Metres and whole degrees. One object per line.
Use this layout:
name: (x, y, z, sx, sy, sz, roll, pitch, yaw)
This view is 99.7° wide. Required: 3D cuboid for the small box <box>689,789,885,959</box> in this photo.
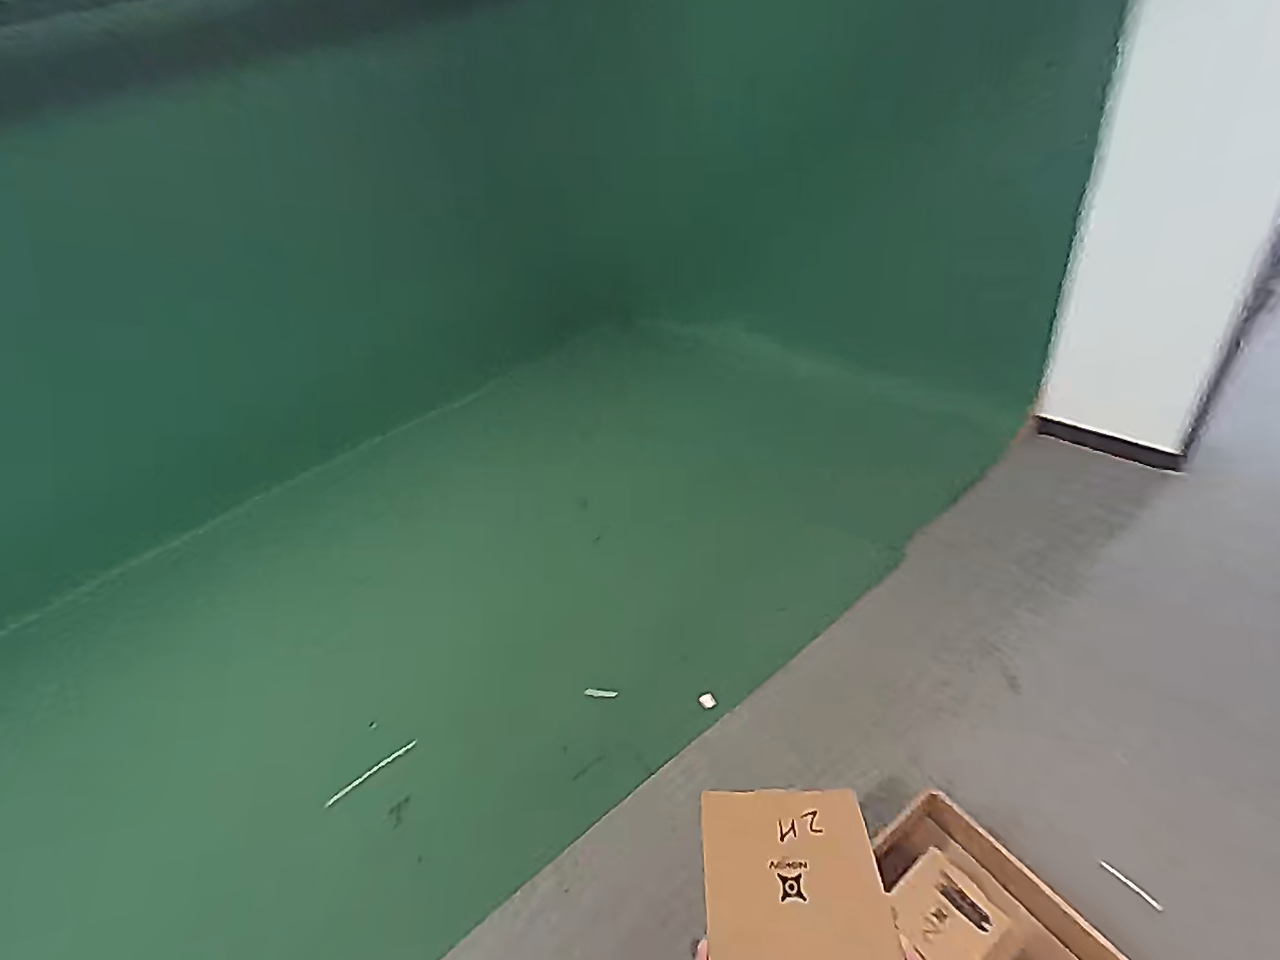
small box: (0.140, 0.450, 0.551, 0.168, 0.176, 0.179, -4, 27, 6)
